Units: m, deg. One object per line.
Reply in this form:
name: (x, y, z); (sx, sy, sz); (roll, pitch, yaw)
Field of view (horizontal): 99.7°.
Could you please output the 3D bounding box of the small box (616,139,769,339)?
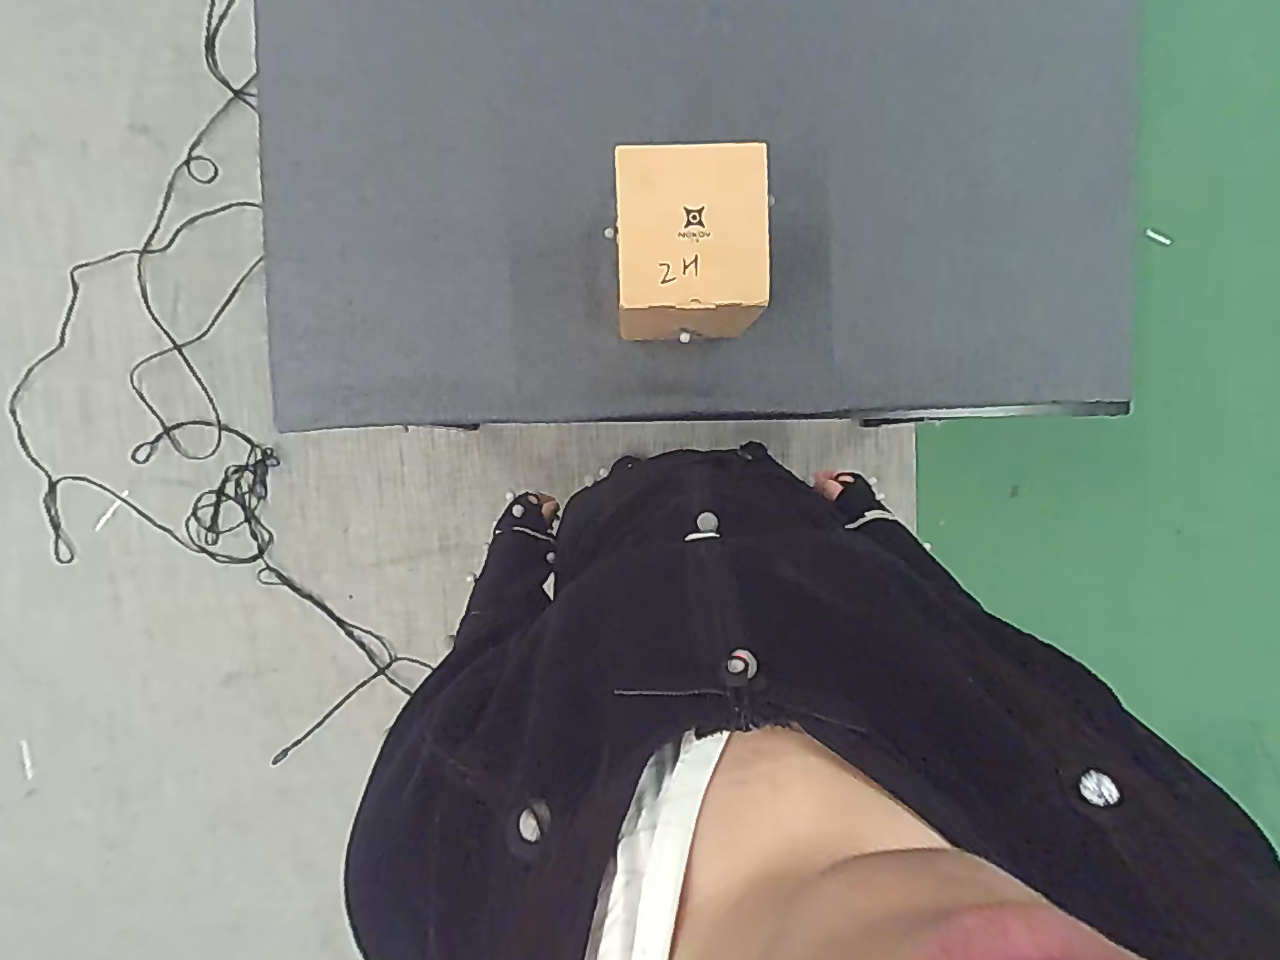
small box: (0.055, -0.279, 0.660); (0.168, 0.176, 0.179); (-2, 92, 0)
